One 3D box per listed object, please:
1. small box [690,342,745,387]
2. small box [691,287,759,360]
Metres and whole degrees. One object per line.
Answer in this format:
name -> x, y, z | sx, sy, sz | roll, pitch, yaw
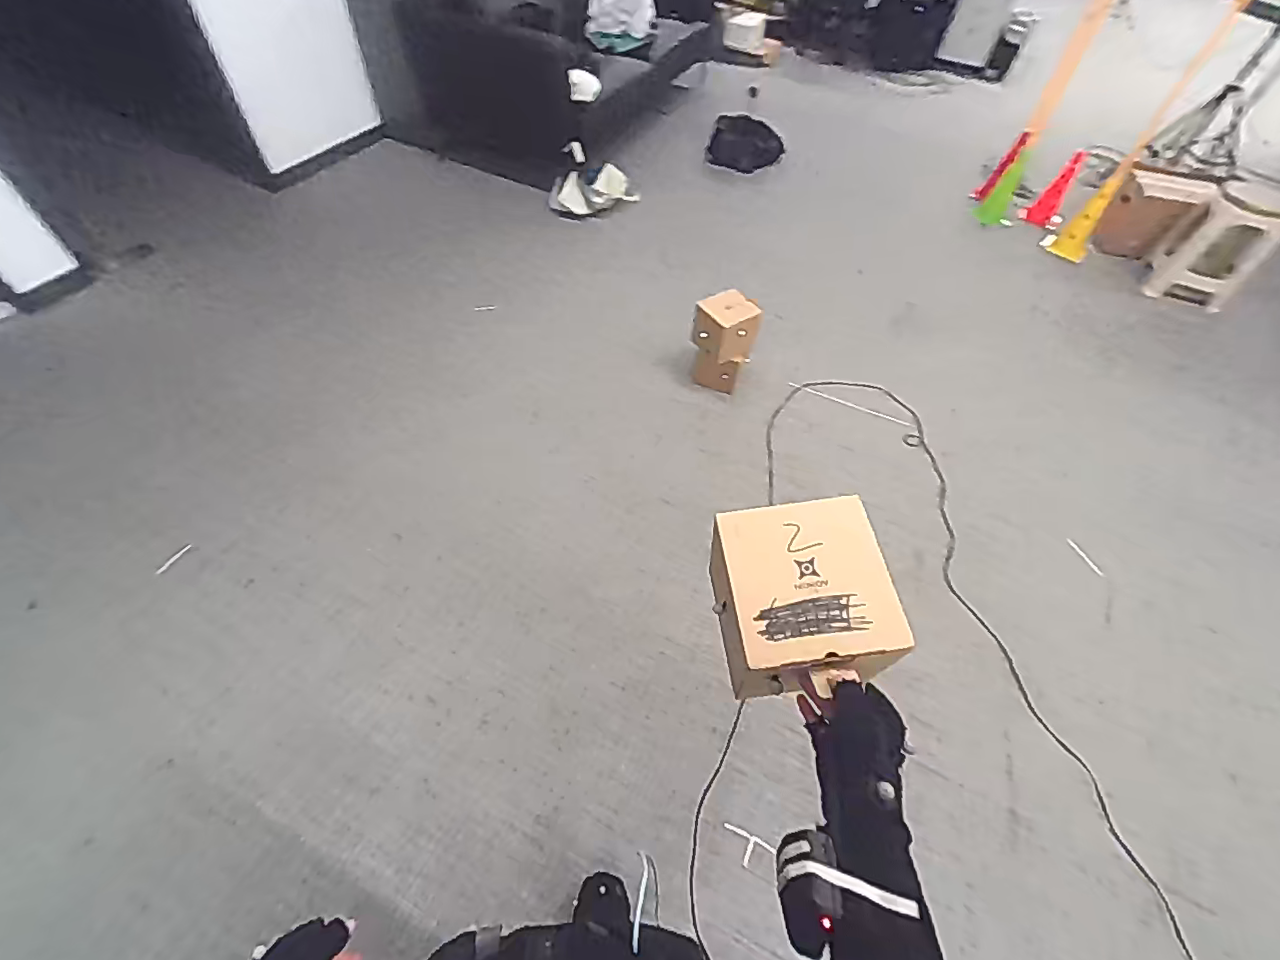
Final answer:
small box -> 0.305, -0.484, 2.087 | 0.179, 0.176, 0.168 | 19, 54, 11
small box -> 0.300, -0.563, 1.961 | 0.179, 0.176, 0.168 | -27, 60, -22
